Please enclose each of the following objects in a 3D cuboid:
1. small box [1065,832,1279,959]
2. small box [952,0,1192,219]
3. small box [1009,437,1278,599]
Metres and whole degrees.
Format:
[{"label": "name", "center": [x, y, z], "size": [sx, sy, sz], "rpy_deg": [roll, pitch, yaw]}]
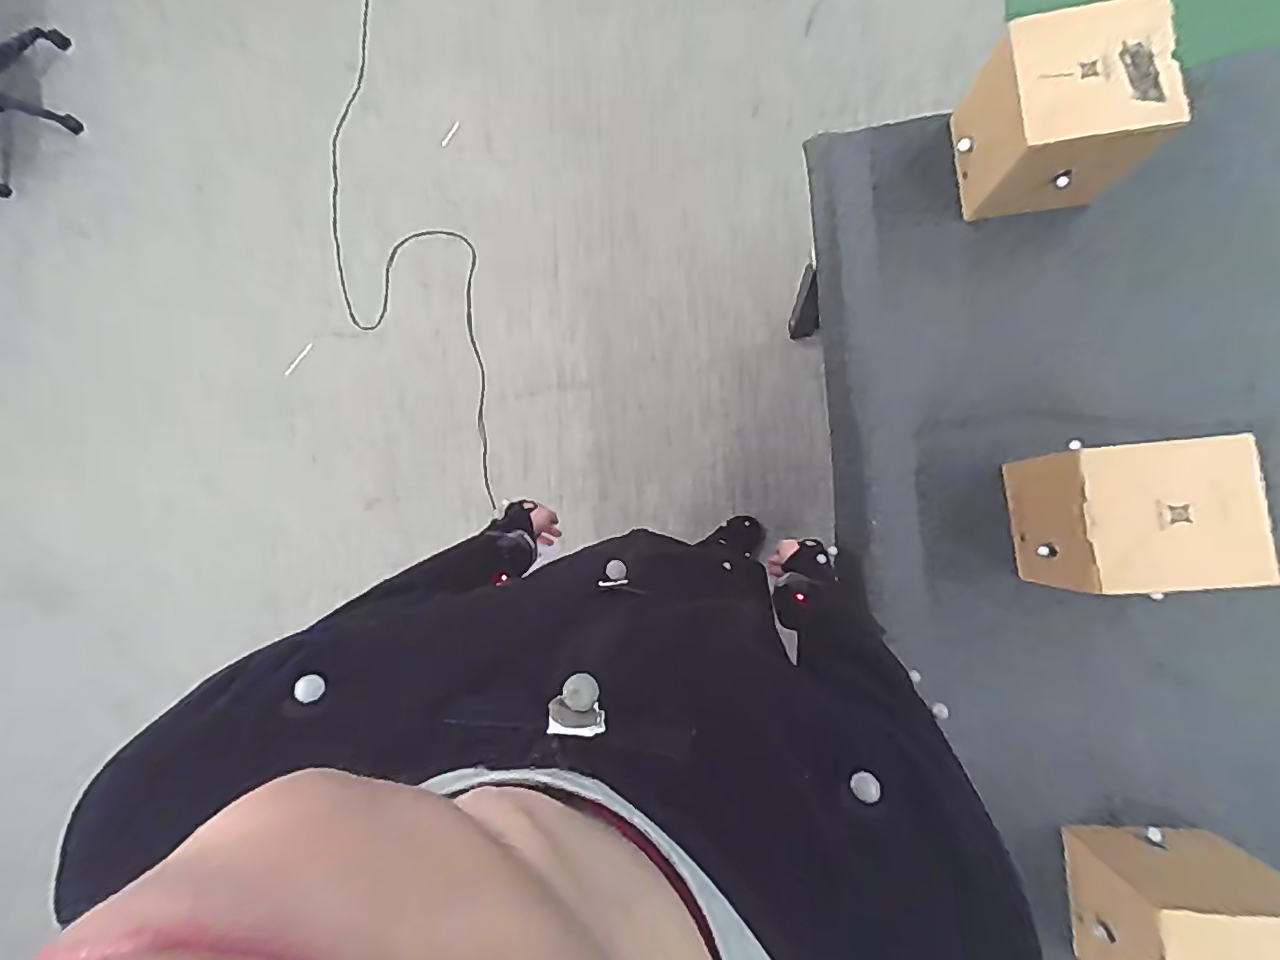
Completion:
[{"label": "small box", "center": [0.622, 0.530, 0.613], "size": [0.179, 0.176, 0.168], "rpy_deg": [-3, 85, 9]}, {"label": "small box", "center": [0.539, -0.467, 0.701], "size": [0.179, 0.176, 0.168], "rpy_deg": [-5, 85, 8]}, {"label": "small box", "center": [0.584, 0.047, 0.659], "size": [0.179, 0.176, 0.168], "rpy_deg": [-6, 86, 7]}]
